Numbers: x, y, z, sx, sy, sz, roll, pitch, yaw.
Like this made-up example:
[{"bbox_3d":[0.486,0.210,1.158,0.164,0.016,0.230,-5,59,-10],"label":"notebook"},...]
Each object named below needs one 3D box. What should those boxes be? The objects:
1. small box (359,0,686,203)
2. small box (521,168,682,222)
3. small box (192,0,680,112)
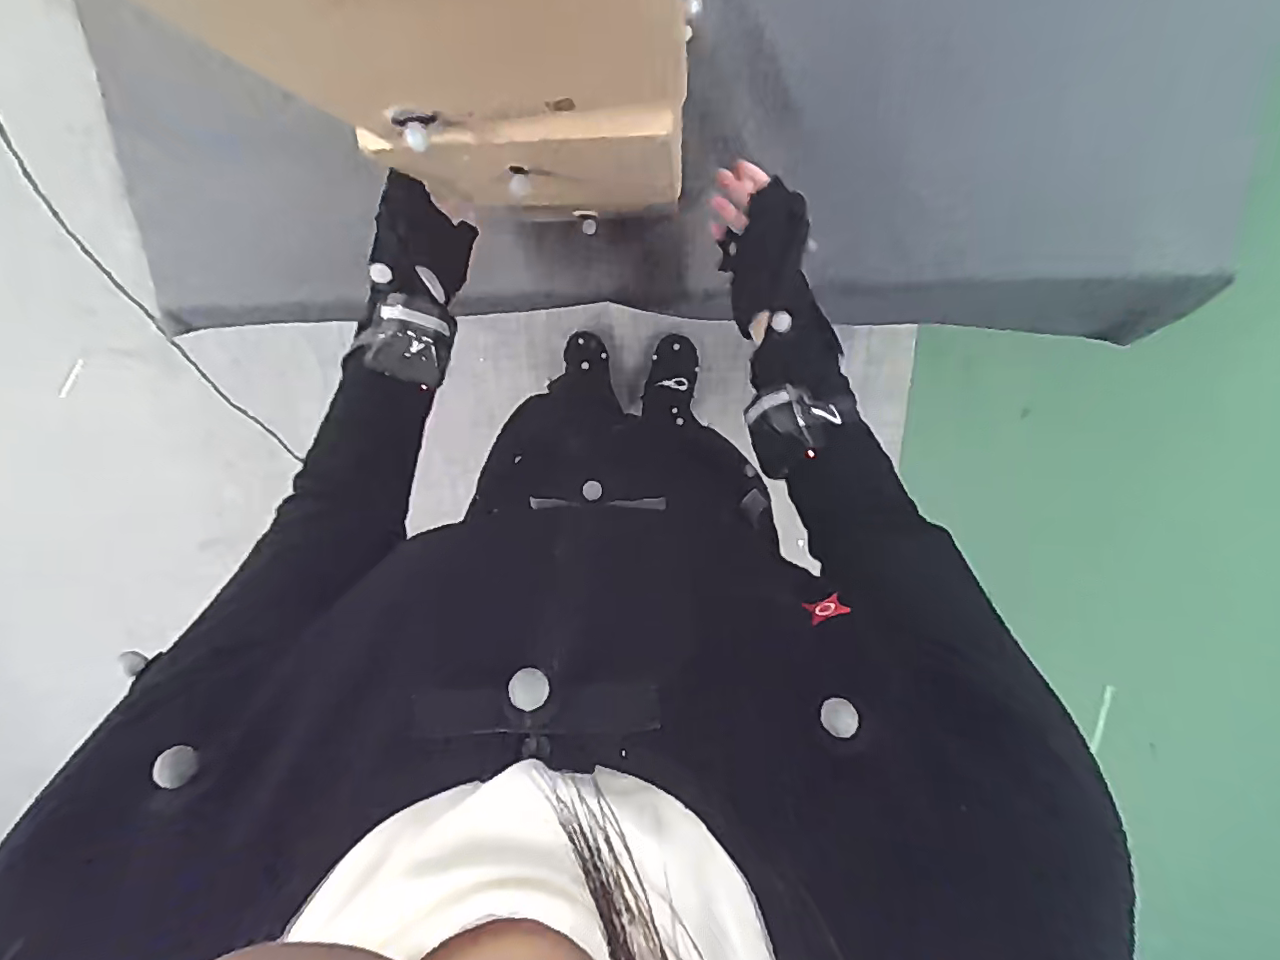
[{"bbox_3d":[-0.062,-0.291,0.347,0.179,0.176,0.168,-2,104,6],"label":"small box"},{"bbox_3d":[-0.047,-0.350,0.496,0.168,0.176,0.179,-1,107,7],"label":"small box"},{"bbox_3d":[-0.075,-0.254,0.184,0.168,0.176,0.179,-3,105,7],"label":"small box"}]
